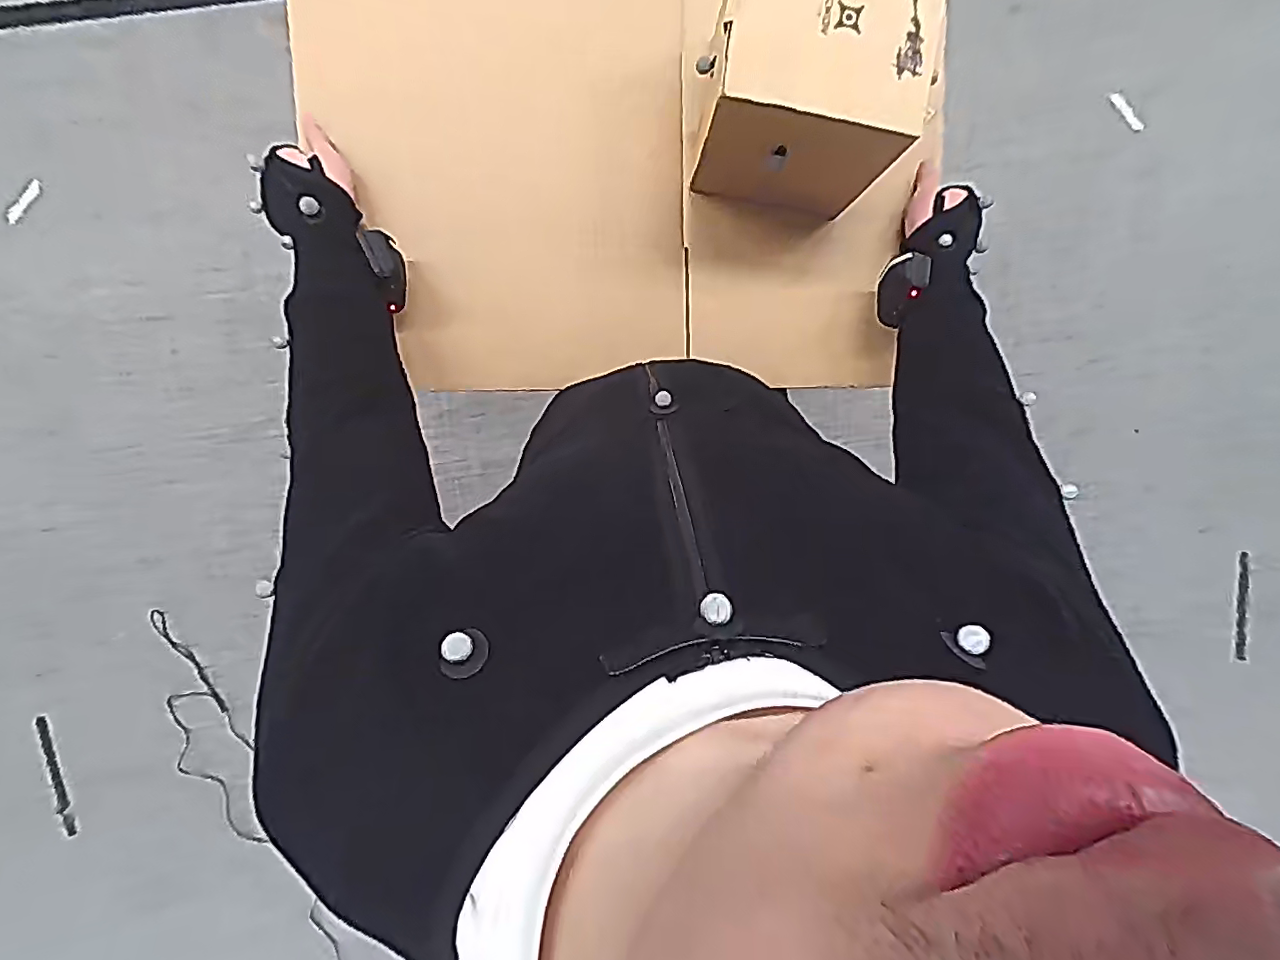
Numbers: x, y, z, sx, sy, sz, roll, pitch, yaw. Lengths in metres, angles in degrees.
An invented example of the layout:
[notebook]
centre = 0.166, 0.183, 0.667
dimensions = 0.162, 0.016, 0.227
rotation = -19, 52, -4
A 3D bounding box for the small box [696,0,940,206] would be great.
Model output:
[small box]
centre = 0.159, -0.394, 0.529
dimensions = 0.179, 0.176, 0.168
rotation = 9, 94, -3
